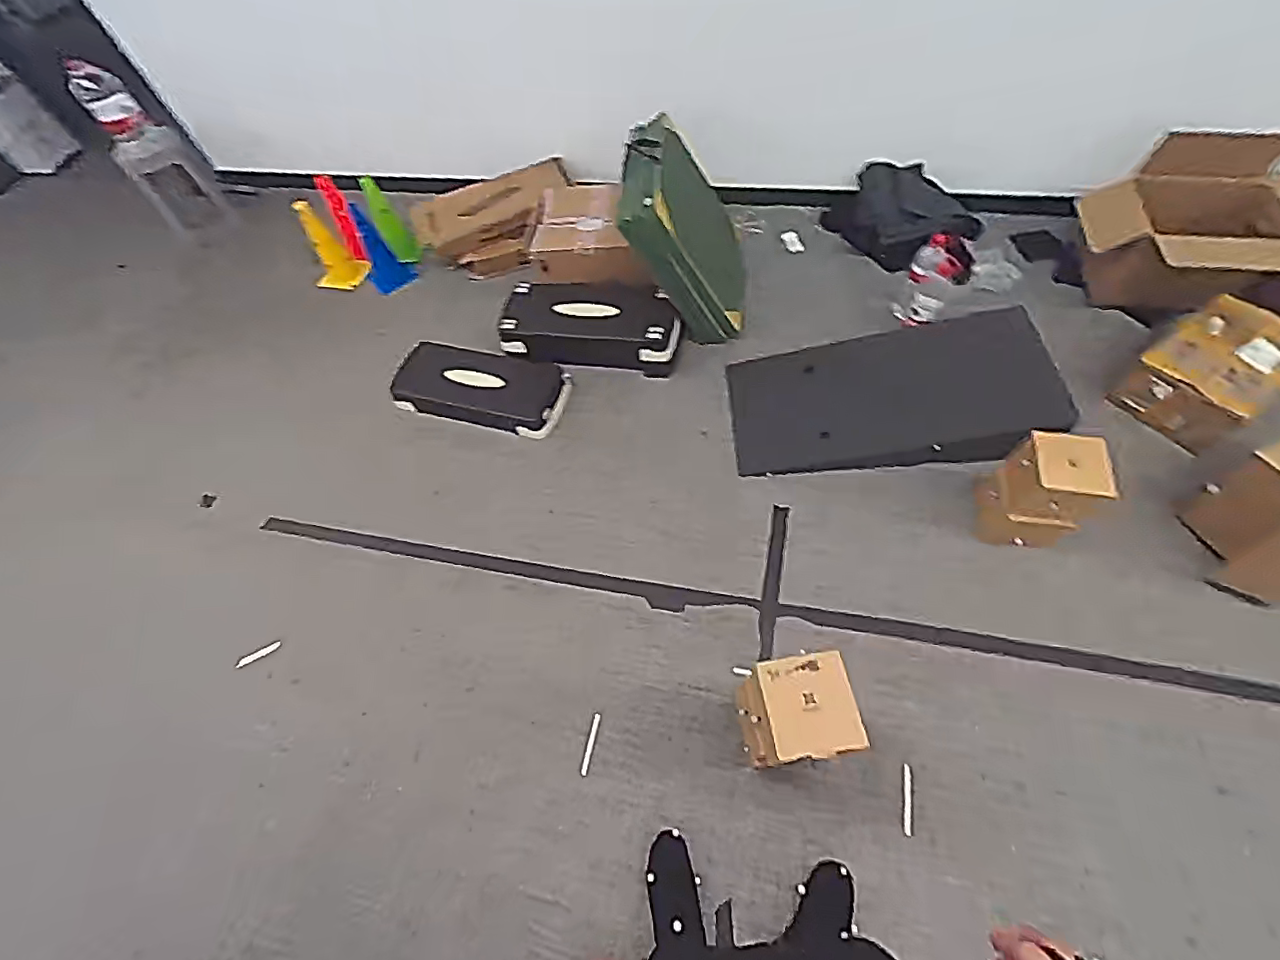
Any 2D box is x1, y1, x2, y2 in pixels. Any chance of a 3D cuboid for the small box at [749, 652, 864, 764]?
[{"bbox_3d":[0.320,0.458,1.077,0.168,0.176,0.179,-10,60,0],"label":"small box"}]
